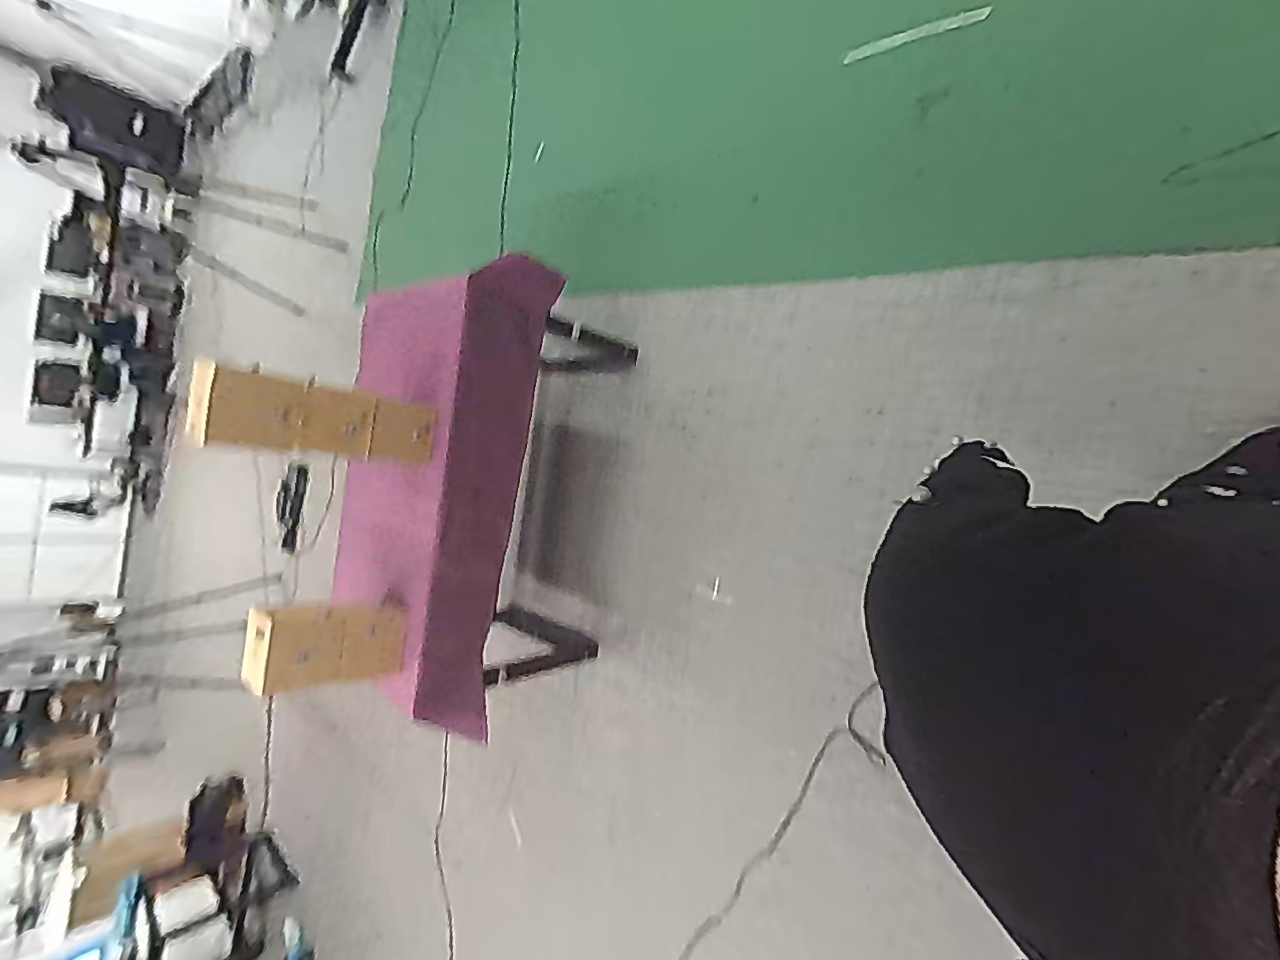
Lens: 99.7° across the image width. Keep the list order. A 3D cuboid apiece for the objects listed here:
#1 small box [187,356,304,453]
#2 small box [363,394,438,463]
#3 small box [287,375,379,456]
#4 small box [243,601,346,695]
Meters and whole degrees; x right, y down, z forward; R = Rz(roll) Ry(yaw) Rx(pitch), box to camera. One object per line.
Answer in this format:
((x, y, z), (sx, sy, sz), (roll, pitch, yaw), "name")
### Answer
((-0.887, -0.168, 1.223), (0.168, 0.176, 0.179), (15, 94, 39), "small box")
((-0.681, -0.144, 1.477), (0.179, 0.176, 0.168), (12, 94, 39), "small box")
((-0.784, -0.158, 1.351), (0.179, 0.176, 0.168), (12, 94, 38), "small box")
((-0.867, 0.413, 1.364), (0.168, 0.176, 0.179), (6, 90, 40), "small box")
